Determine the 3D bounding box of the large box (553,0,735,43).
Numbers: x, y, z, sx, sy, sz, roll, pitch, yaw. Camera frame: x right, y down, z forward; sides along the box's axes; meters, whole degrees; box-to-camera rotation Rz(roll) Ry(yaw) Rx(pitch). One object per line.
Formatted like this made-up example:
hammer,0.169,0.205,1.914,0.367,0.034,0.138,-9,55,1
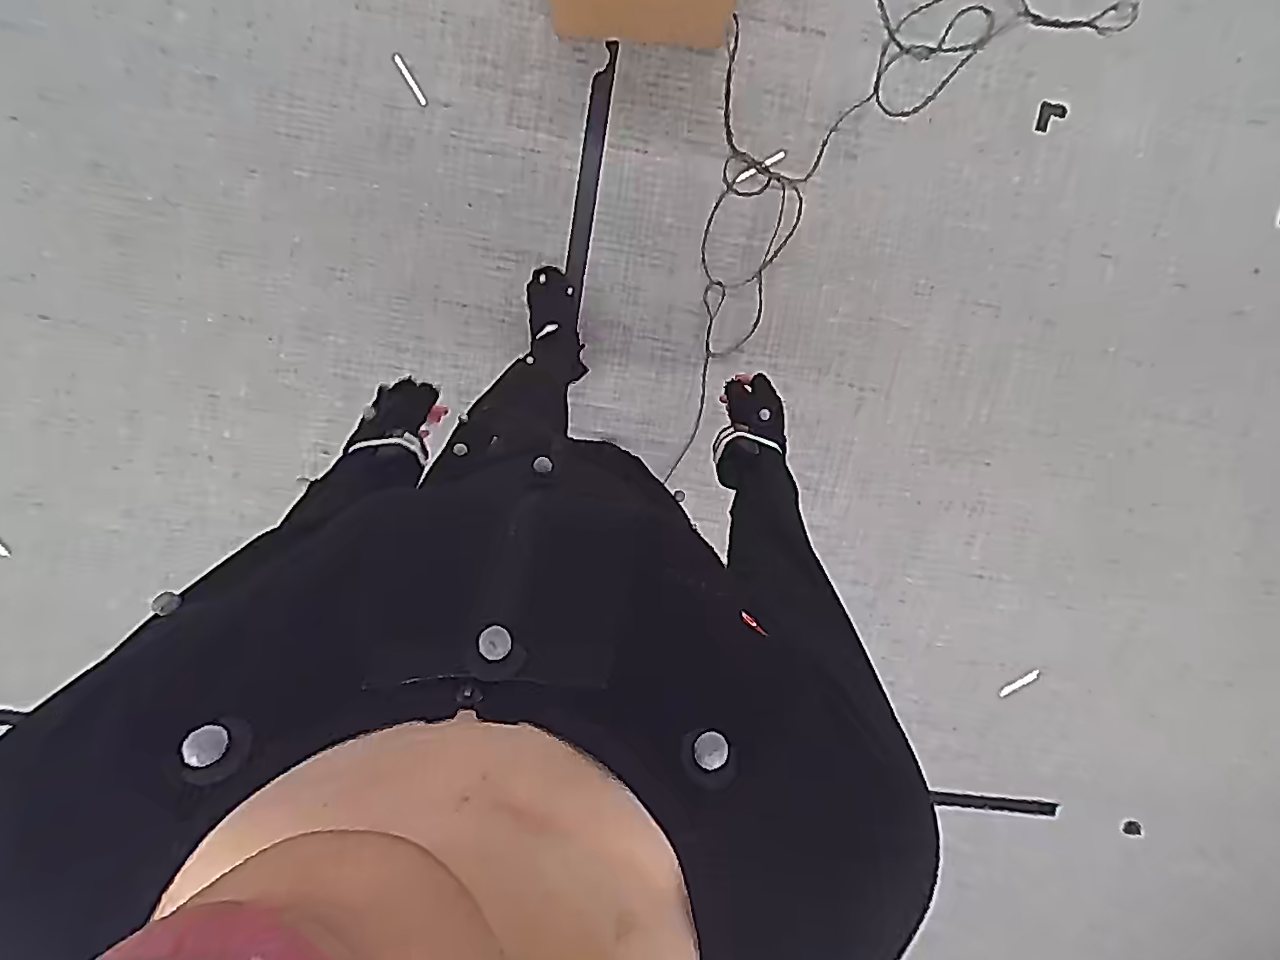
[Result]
large box,0.009,-1.178,1.124,0.408,0.320,0.320,0,100,-4
